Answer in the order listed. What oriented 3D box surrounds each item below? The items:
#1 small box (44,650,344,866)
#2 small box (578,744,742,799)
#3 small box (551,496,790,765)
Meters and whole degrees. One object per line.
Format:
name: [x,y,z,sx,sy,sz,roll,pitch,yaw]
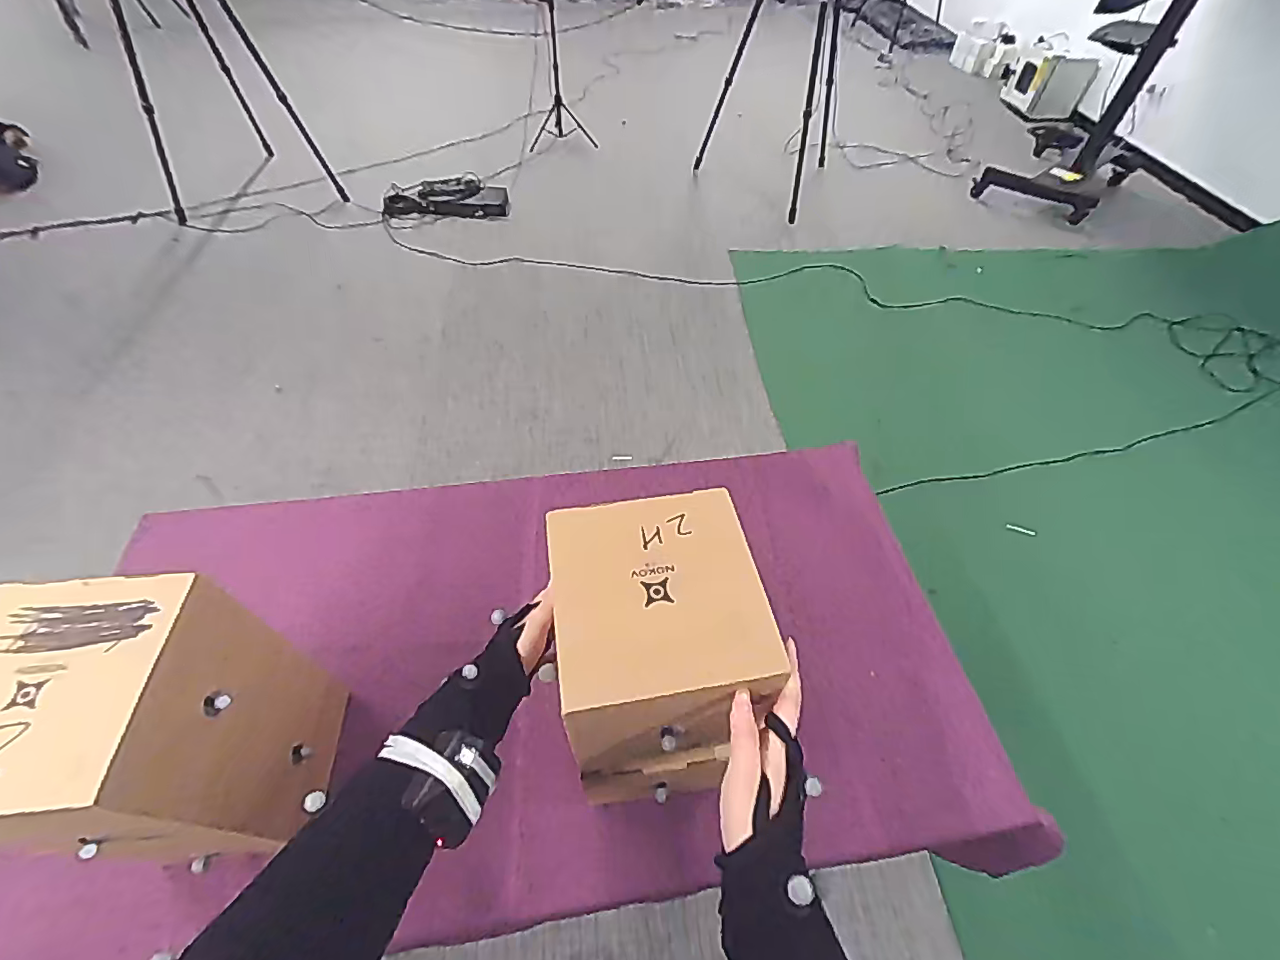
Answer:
small box: [-0.451,0.305,0.591,0.168,0.176,0.179,-3,53,-5]
small box: [0.011,0.266,0.641,0.168,0.176,0.179,-4,53,-6]
small box: [0.015,0.141,0.488,0.168,0.176,0.179,-7,50,-7]
